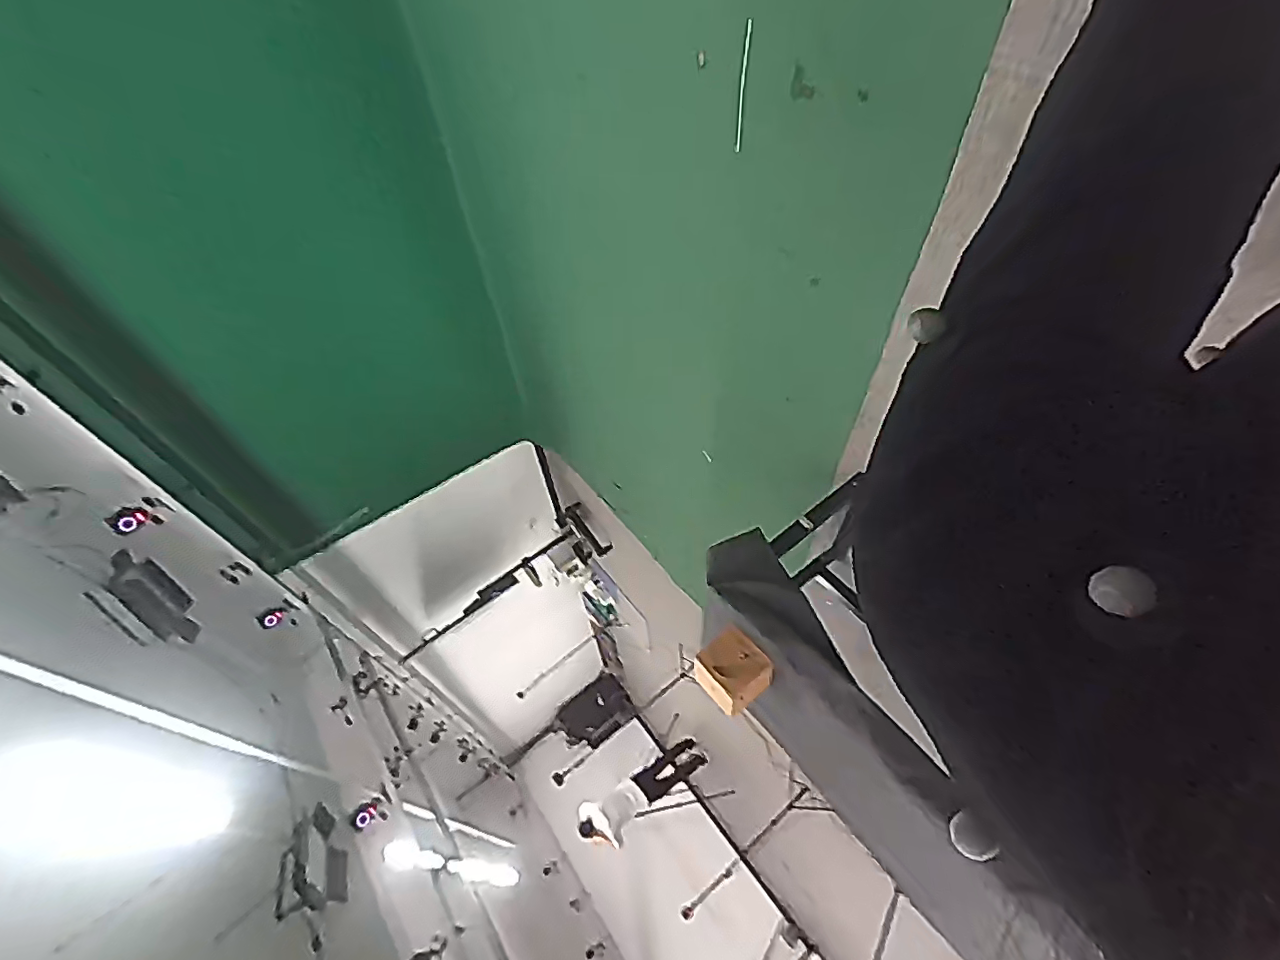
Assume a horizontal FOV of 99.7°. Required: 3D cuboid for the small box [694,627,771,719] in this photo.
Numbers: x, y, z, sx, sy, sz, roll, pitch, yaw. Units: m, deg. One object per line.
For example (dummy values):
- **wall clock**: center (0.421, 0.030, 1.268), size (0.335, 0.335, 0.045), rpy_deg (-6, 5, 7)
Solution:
- **small box**: center (0.283, 0.591, 1.662), size (0.168, 0.176, 0.179), rpy_deg (42, 154, 35)
